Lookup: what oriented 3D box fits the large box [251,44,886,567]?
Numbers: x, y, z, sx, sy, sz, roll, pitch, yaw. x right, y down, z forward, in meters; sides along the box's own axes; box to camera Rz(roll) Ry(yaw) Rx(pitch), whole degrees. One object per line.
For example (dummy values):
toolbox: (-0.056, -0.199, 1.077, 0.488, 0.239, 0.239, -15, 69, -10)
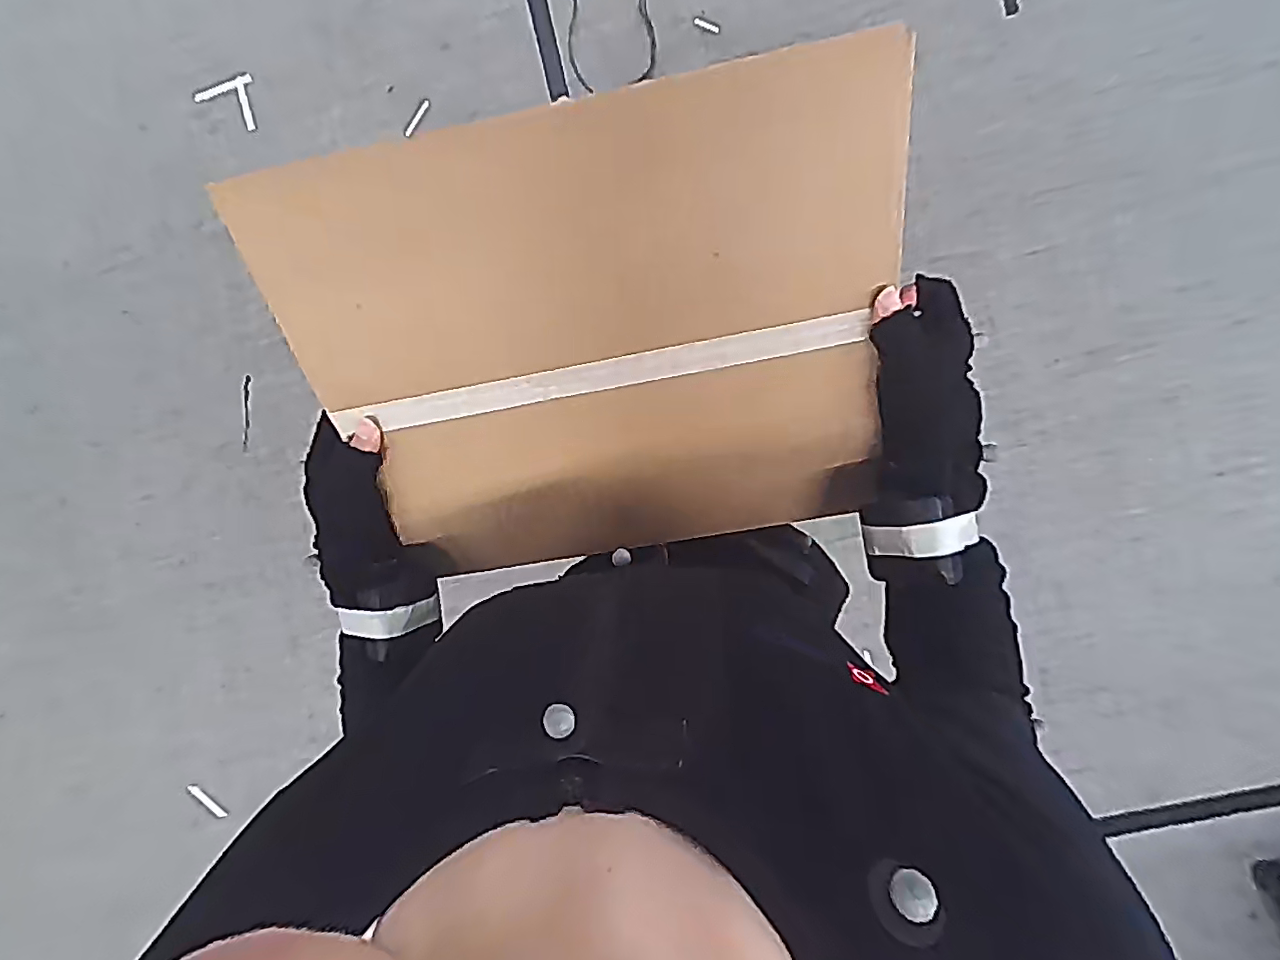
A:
large box: (-0.025, -0.160, 0.523, 0.408, 0.320, 0.320, -10, 120, 5)
